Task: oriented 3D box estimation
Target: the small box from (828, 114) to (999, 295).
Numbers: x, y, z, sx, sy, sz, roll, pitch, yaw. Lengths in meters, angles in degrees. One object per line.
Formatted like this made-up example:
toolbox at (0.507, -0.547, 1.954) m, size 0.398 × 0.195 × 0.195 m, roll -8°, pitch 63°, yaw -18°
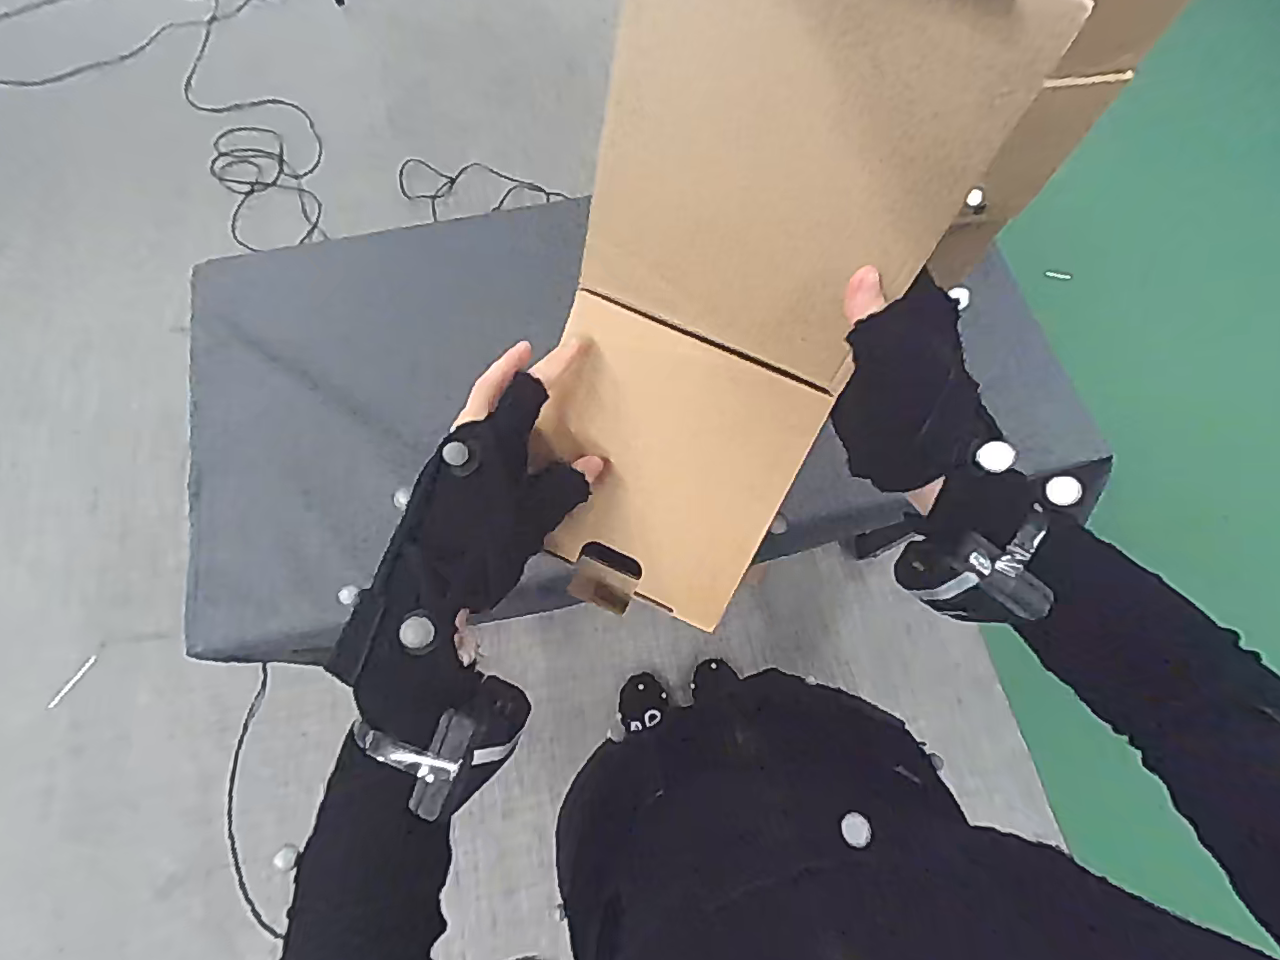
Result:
small box at (0.374, -0.378, 0.757) m, size 0.179 × 0.176 × 0.168 m, roll 0°, pitch 71°, yaw 0°

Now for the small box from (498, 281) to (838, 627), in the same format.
small box at (0.022, -0.031, 0.411) m, size 0.168 × 0.176 × 0.179 m, roll 24°, pitch 109°, yaw 4°
